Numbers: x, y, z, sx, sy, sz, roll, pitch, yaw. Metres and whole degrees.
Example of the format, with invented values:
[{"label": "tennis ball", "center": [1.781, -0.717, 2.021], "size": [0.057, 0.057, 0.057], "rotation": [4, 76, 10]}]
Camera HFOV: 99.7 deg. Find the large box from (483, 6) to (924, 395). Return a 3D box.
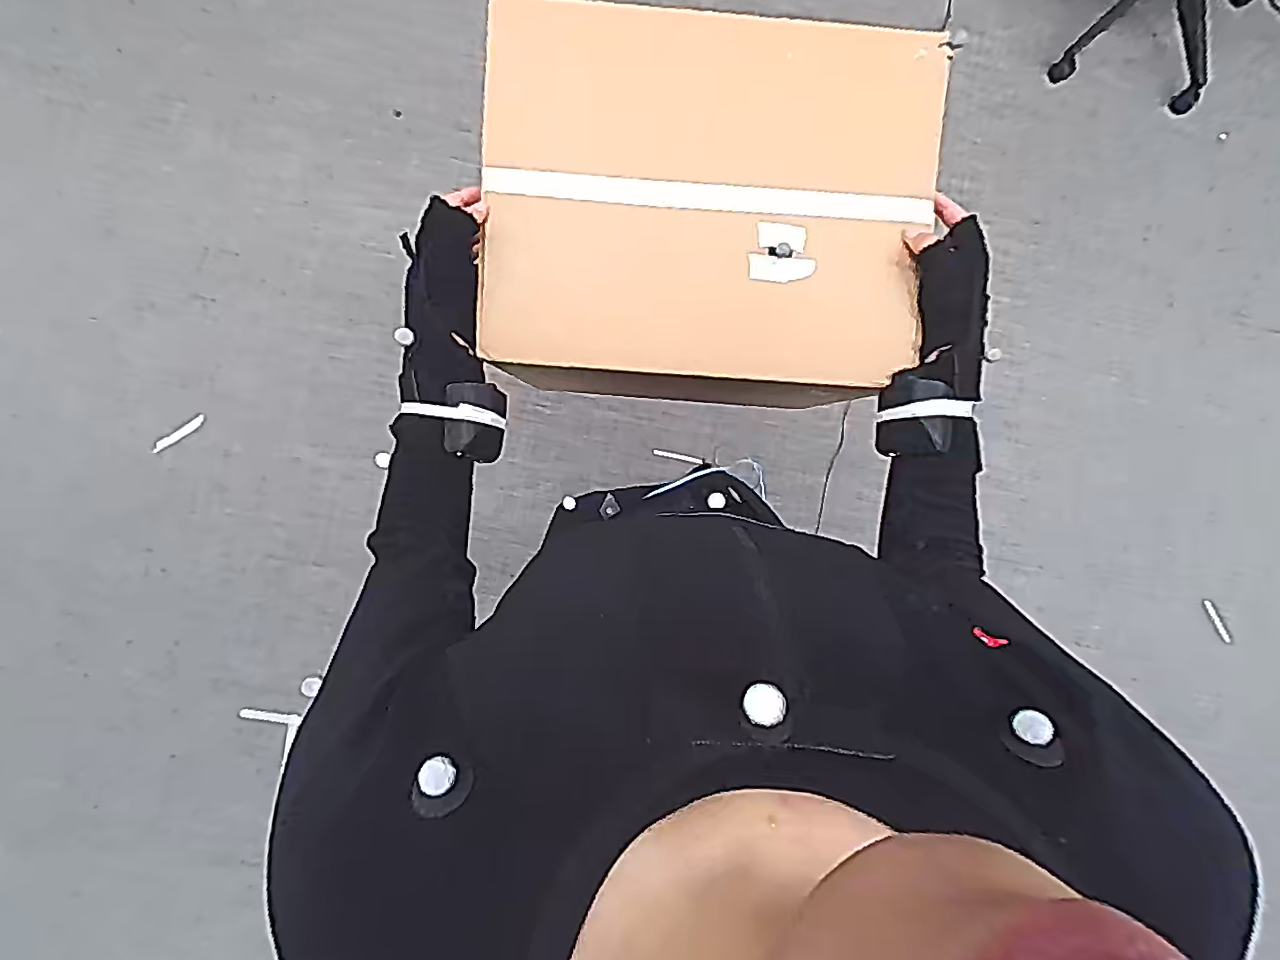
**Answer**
[{"label": "large box", "center": [0.050, -0.274, 0.647], "size": [0.408, 0.320, 0.320], "rotation": [3, 96, -2]}]
